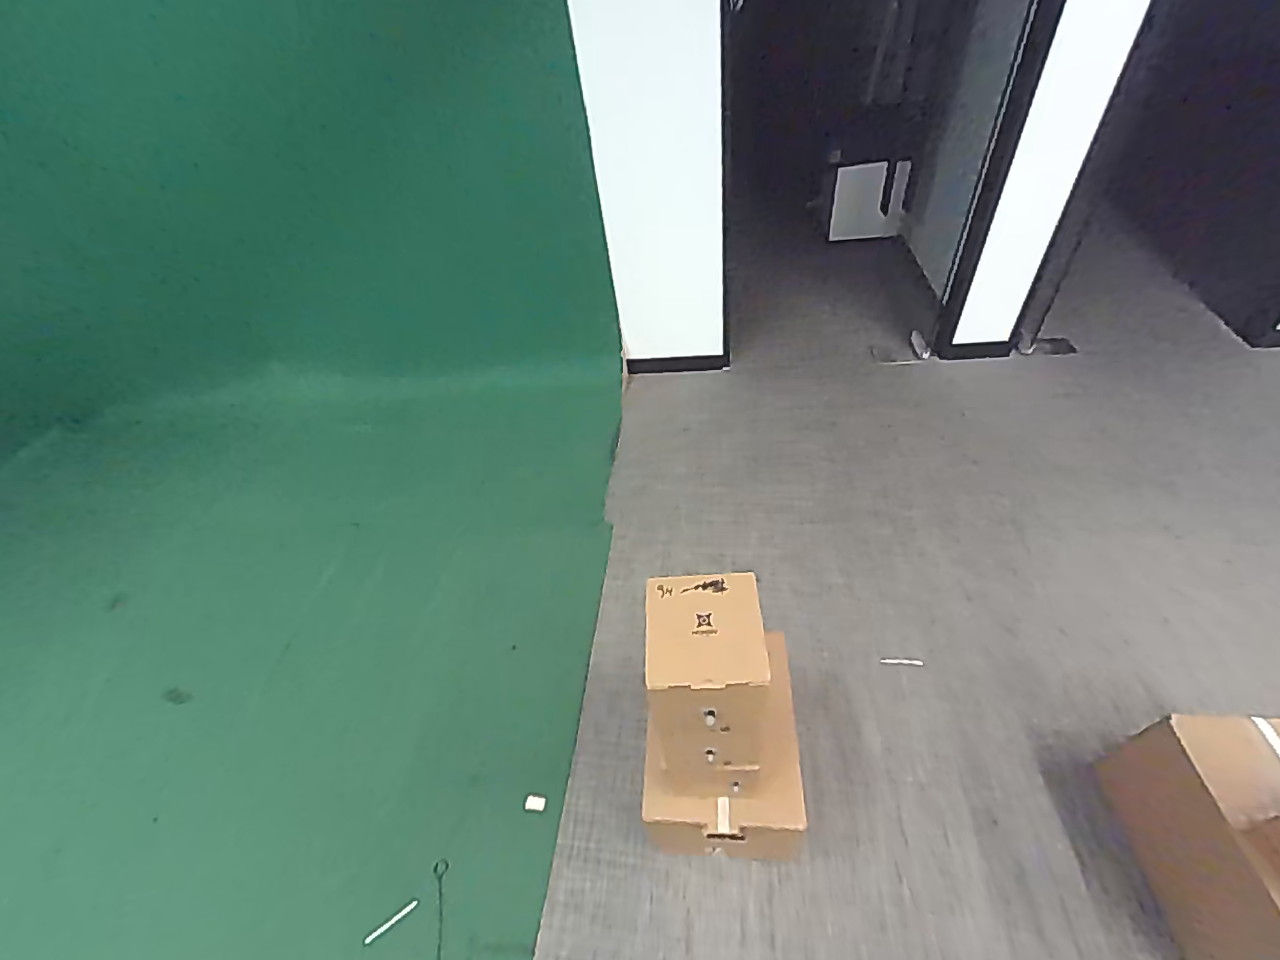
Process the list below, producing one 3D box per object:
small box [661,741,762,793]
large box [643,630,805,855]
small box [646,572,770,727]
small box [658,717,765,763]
[{"bbox_3d":[0.138,0.491,1.045,0.179,0.176,0.168,-3,45,8],"label":"small box"},{"bbox_3d":[0.189,0.608,1.265,0.320,0.320,0.408,-1,45,8],"label":"large box"},{"bbox_3d":[0.101,0.260,0.815,0.168,0.176,0.179,-4,46,6],"label":"small box"},{"bbox_3d":[0.119,0.373,0.933,0.168,0.176,0.179,-5,45,4],"label":"small box"}]
